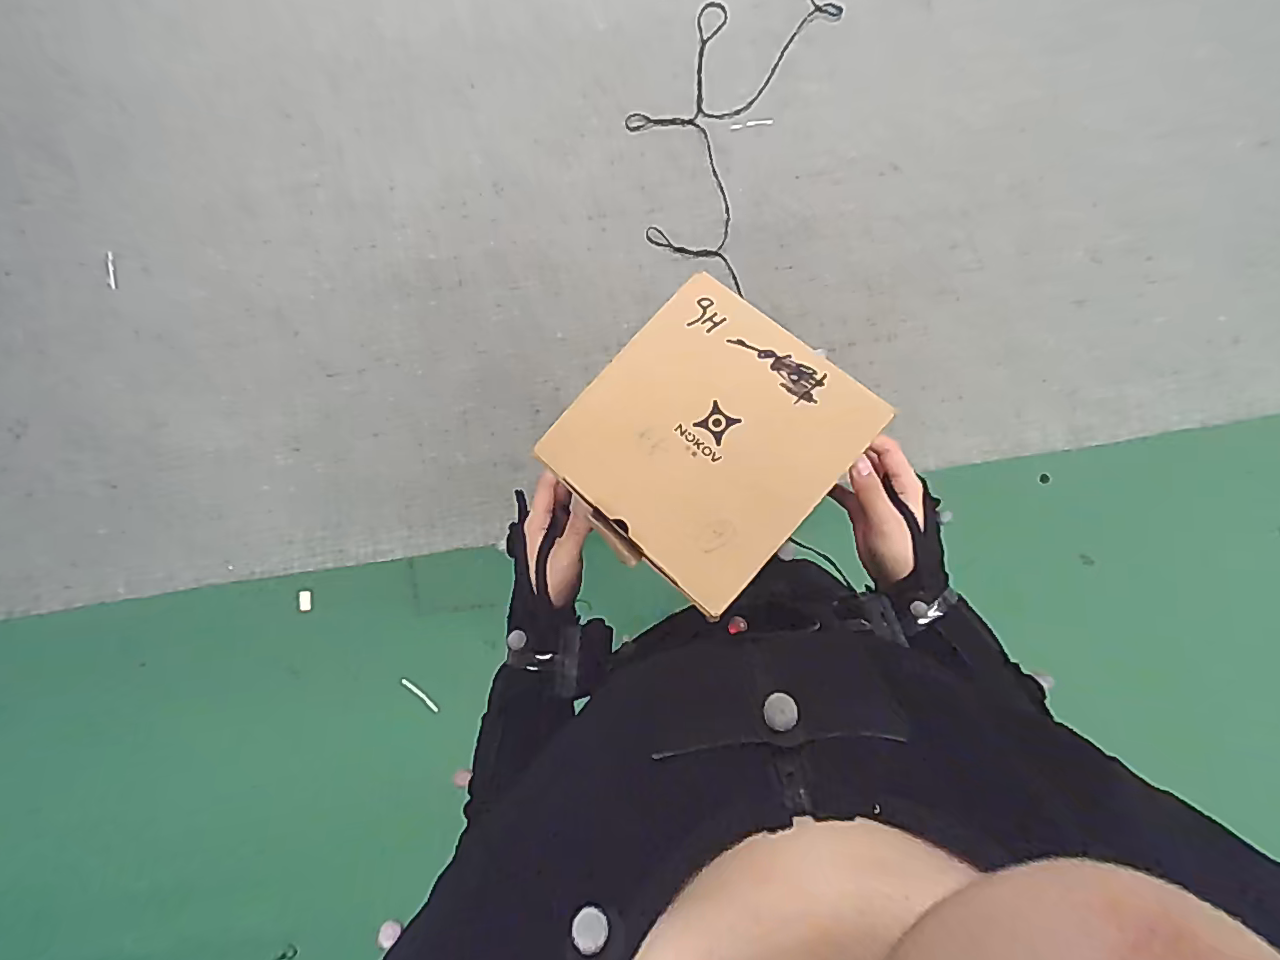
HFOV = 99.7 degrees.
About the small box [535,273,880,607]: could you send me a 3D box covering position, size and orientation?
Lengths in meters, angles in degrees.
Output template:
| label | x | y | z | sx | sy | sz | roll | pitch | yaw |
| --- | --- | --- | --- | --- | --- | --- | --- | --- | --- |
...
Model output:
| label | x | y | z | sx | sy | sz | roll | pitch | yaw |
| --- | --- | --- | --- | --- | --- | --- | --- | --- | --- |
| small box | 0.053 | -0.017 | 0.437 | 0.168 | 0.176 | 0.179 | 41 | 87 | 14 |
